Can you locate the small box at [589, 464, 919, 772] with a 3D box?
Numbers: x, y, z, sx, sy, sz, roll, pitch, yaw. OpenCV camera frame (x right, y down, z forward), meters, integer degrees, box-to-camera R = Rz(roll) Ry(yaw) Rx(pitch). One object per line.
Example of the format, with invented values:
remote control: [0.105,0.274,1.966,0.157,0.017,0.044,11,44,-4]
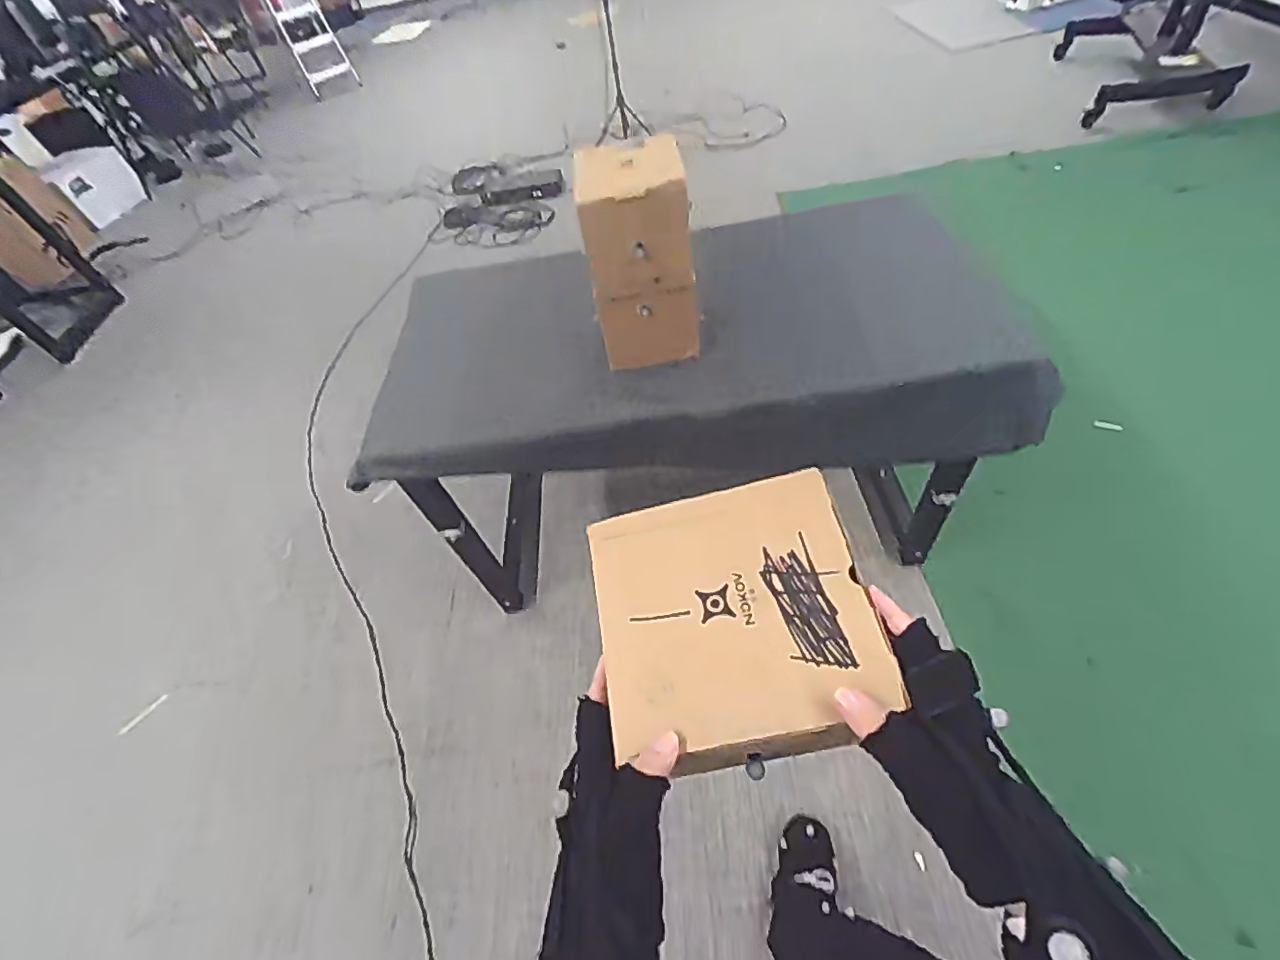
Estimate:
small box: [0.073,0.115,0.418,0.179,0.176,0.168,-15,58,2]

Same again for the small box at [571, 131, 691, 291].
small box: [-0.012,-0.427,0.879,0.168,0.176,0.179,-9,53,4]

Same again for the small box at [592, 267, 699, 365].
small box: [0.011,-0.334,1.012,0.179,0.176,0.168,-8,53,3]
